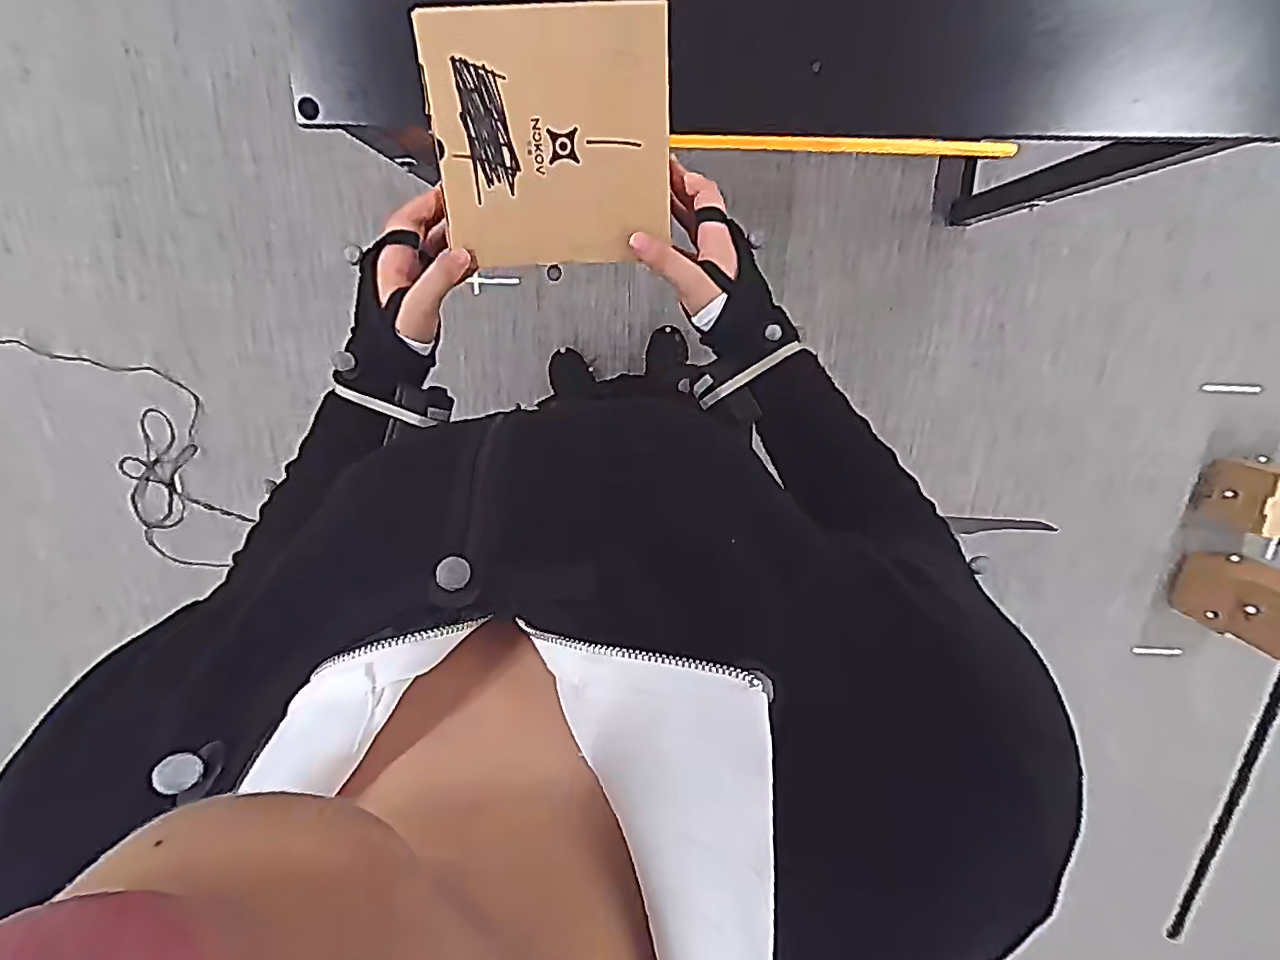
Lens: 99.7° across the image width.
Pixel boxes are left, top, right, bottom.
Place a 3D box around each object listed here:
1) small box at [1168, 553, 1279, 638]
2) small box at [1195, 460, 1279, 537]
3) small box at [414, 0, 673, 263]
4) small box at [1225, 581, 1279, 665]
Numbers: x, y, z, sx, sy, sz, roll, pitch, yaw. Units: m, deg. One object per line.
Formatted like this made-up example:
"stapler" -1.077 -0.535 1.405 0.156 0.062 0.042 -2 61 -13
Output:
"small box" 1.645 0.321 1.510 0.168 0.176 0.179 0 107 0
"small box" 1.645 0.047 1.426 0.179 0.176 0.168 4 106 0
"small box" -0.064 -0.276 0.463 0.179 0.176 0.168 -2 114 -1
"small box" 1.656 0.364 1.353 0.179 0.176 0.168 3 106 1
